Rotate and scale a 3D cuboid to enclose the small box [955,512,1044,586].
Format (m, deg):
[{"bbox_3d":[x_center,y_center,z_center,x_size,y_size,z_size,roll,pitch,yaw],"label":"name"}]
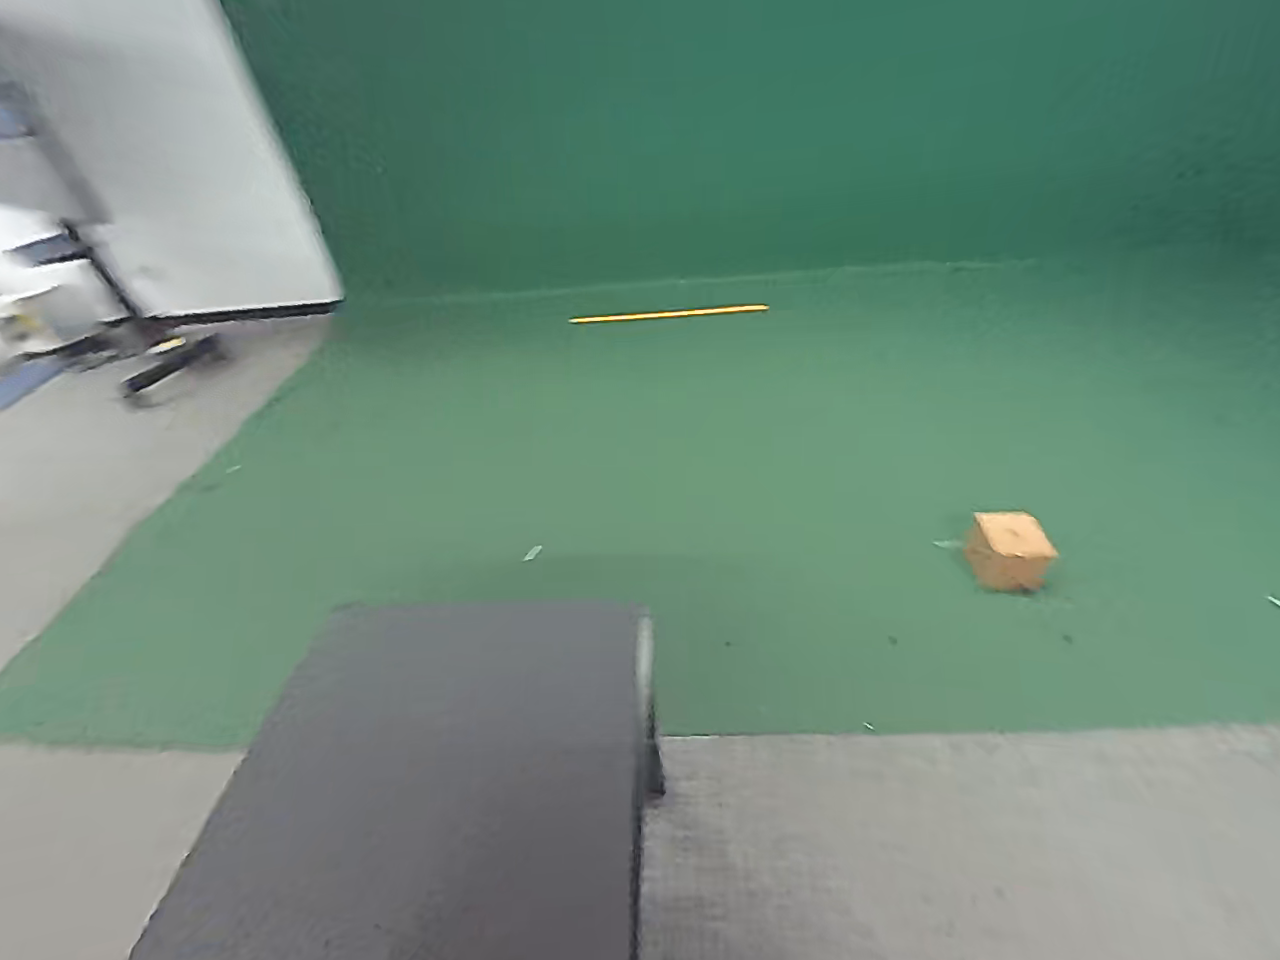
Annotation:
[{"bbox_3d":[1.173,0.226,1.782,0.168,0.176,0.179,-1,42,5],"label":"small box"}]
